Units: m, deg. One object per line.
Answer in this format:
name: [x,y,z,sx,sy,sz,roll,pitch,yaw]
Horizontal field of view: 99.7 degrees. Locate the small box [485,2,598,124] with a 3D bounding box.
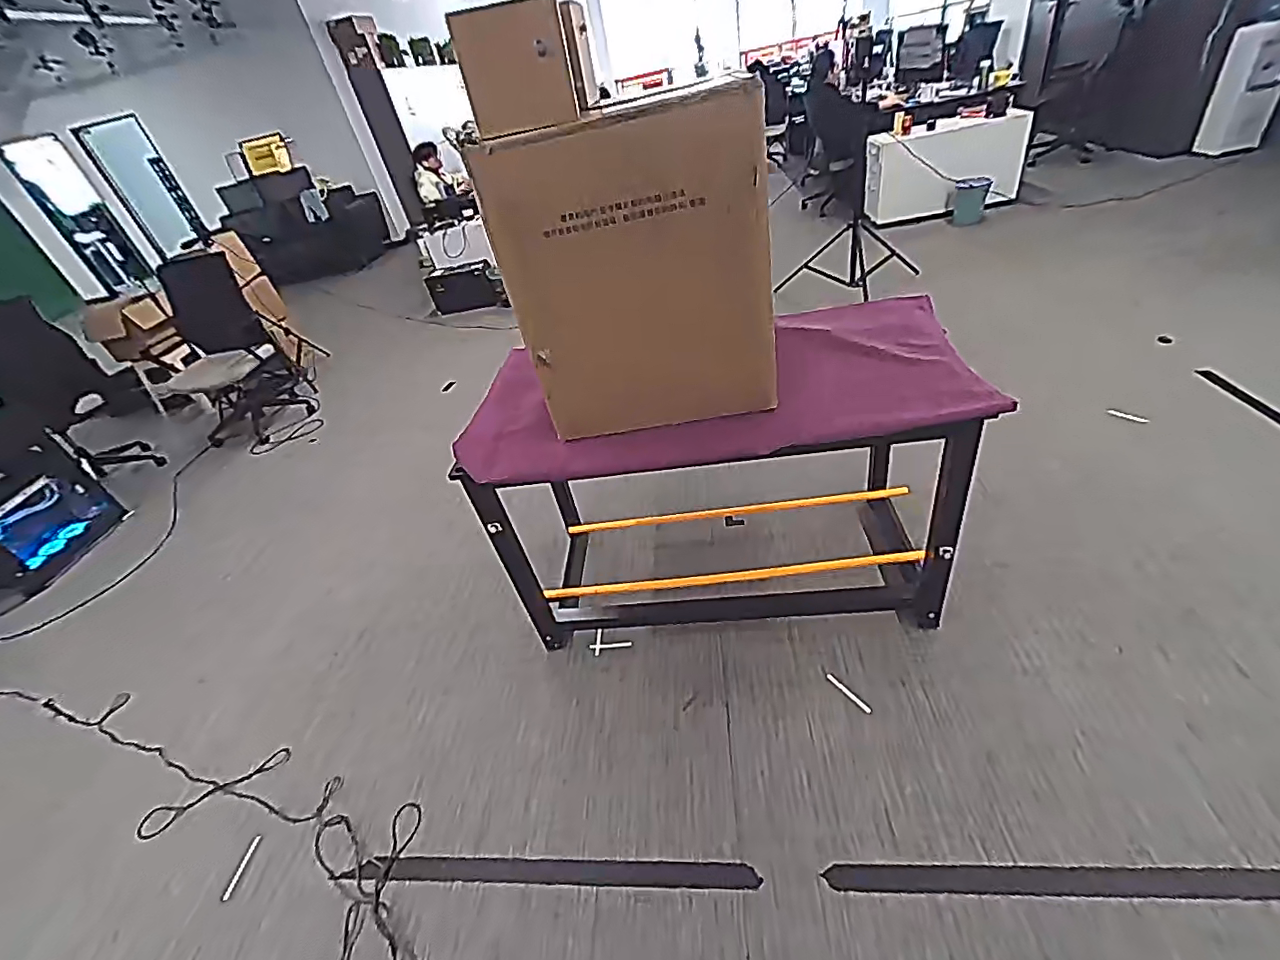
small box: [-0.189,-0.842,1.102,0.168,0.176,0.179,-5,38,9]
